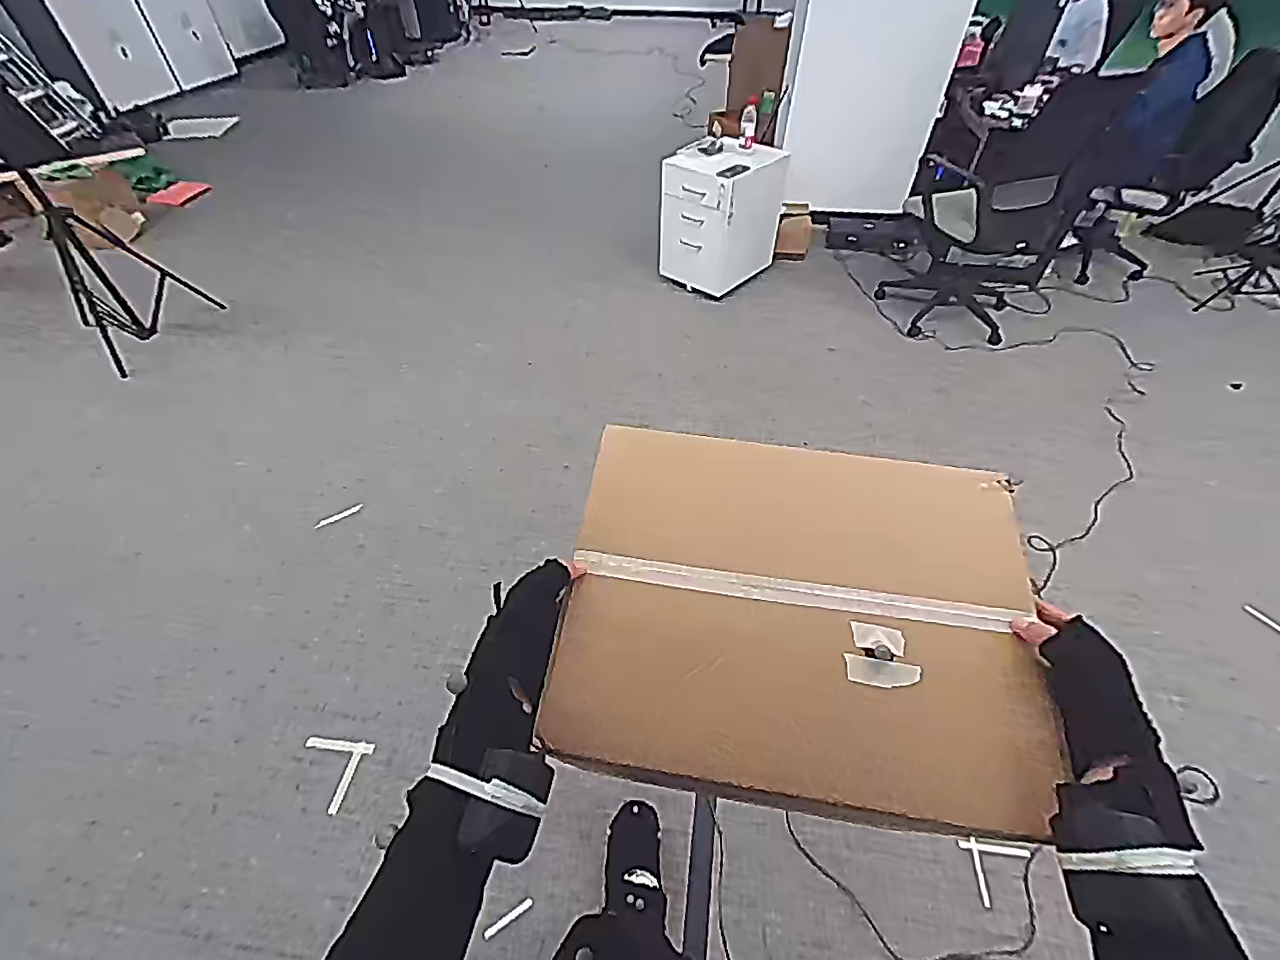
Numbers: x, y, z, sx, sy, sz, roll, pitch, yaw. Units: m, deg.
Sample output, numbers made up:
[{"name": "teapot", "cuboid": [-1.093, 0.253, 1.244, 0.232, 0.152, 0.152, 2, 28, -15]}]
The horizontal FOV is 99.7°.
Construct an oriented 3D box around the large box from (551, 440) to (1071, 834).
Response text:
[{"name": "large box", "cuboid": [0.143, 0.184, 0.614, 0.408, 0.320, 0.320, 8, 60, 4]}]
